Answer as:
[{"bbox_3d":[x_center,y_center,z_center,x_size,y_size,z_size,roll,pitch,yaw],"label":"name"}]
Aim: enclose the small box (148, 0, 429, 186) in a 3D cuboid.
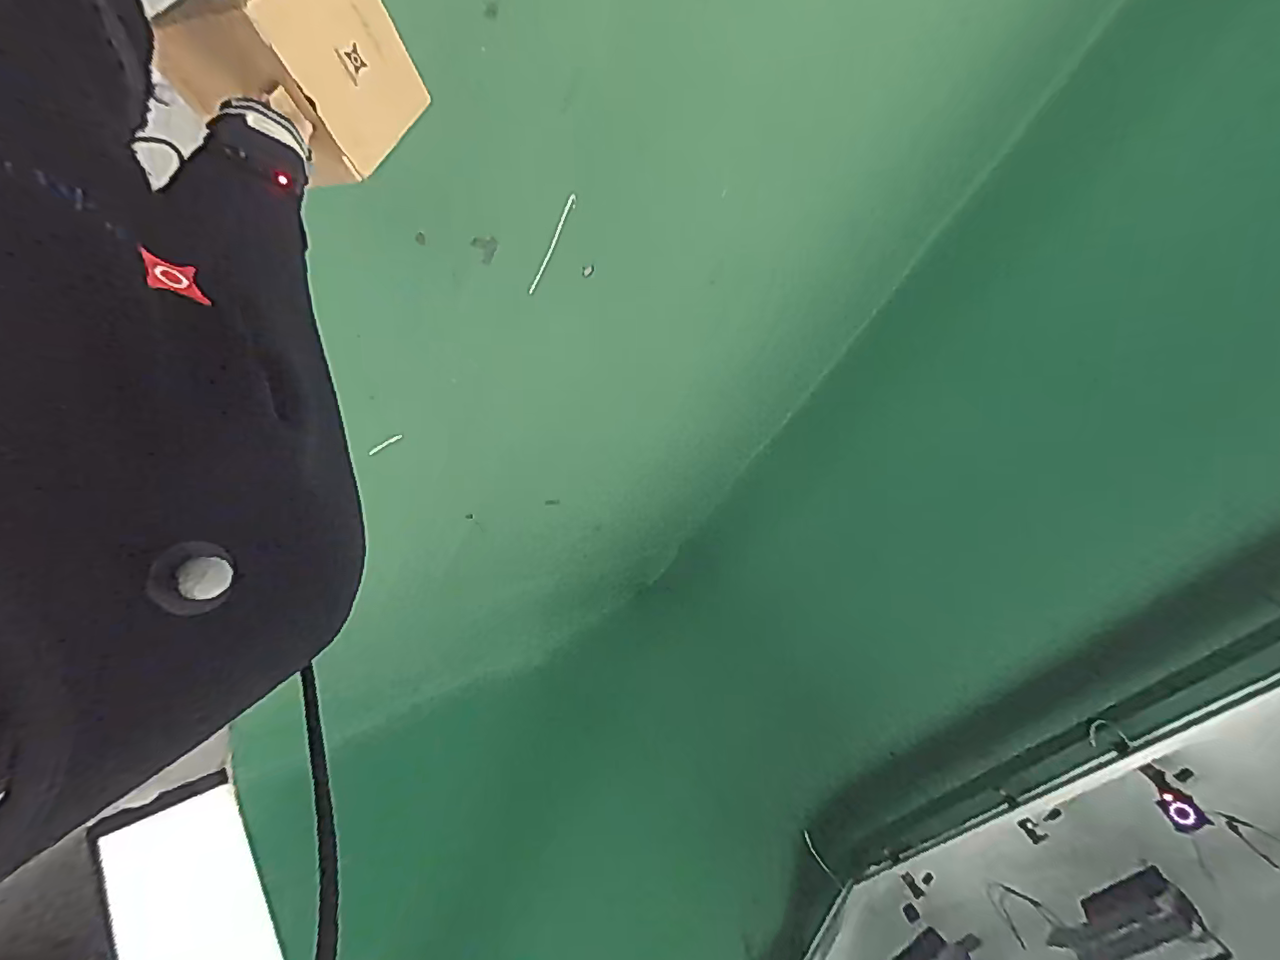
[{"bbox_3d":[-0.380,-0.454,0.601,0.168,0.176,0.179,66,35,-56],"label":"small box"}]
